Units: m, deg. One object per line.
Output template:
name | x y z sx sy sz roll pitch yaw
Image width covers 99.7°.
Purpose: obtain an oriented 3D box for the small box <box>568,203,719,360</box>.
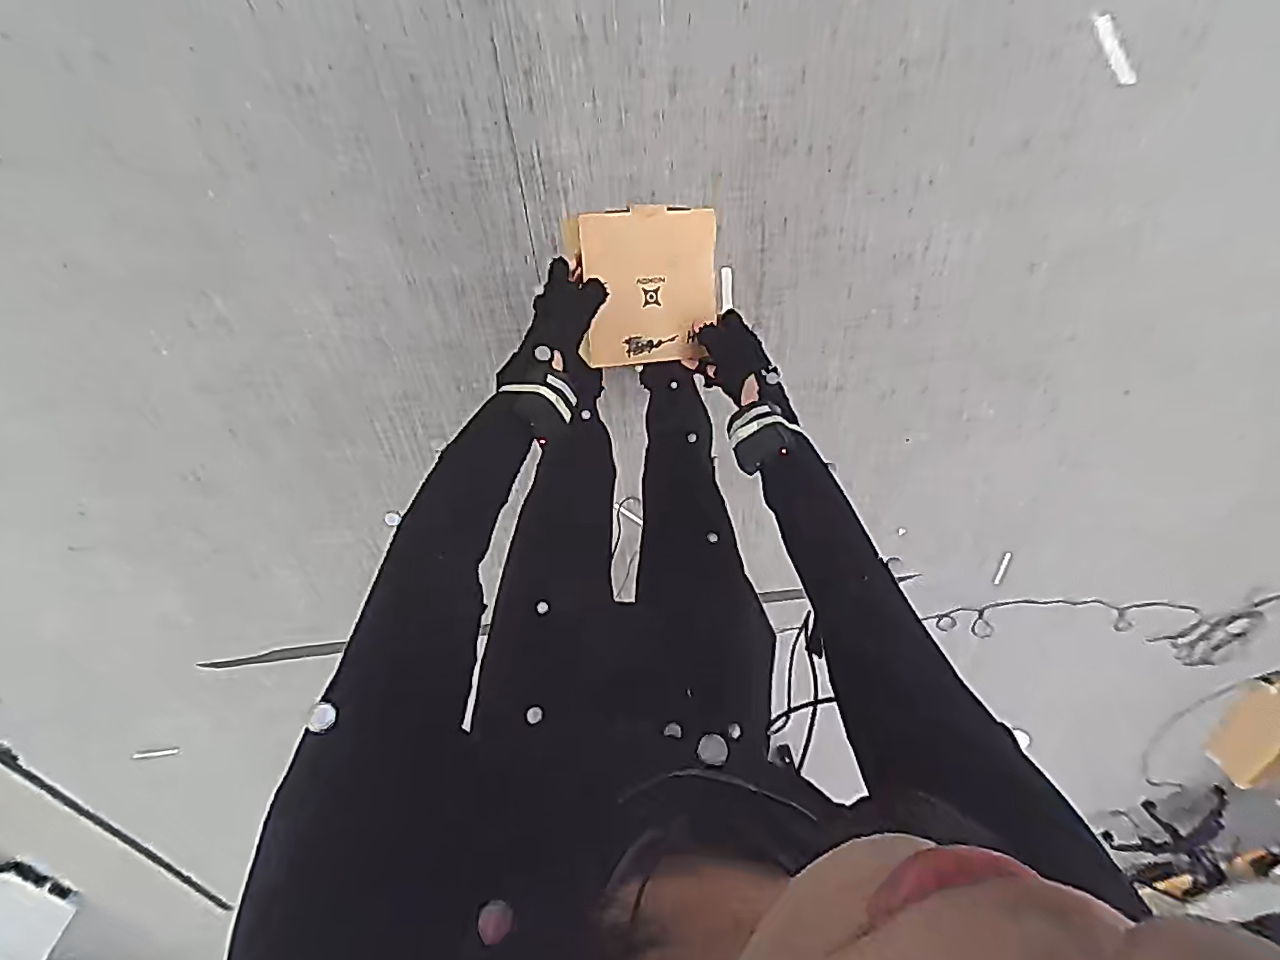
small box | -0.001 -0.263 0.725 0.168 0.176 0.179 -7 111 -12
